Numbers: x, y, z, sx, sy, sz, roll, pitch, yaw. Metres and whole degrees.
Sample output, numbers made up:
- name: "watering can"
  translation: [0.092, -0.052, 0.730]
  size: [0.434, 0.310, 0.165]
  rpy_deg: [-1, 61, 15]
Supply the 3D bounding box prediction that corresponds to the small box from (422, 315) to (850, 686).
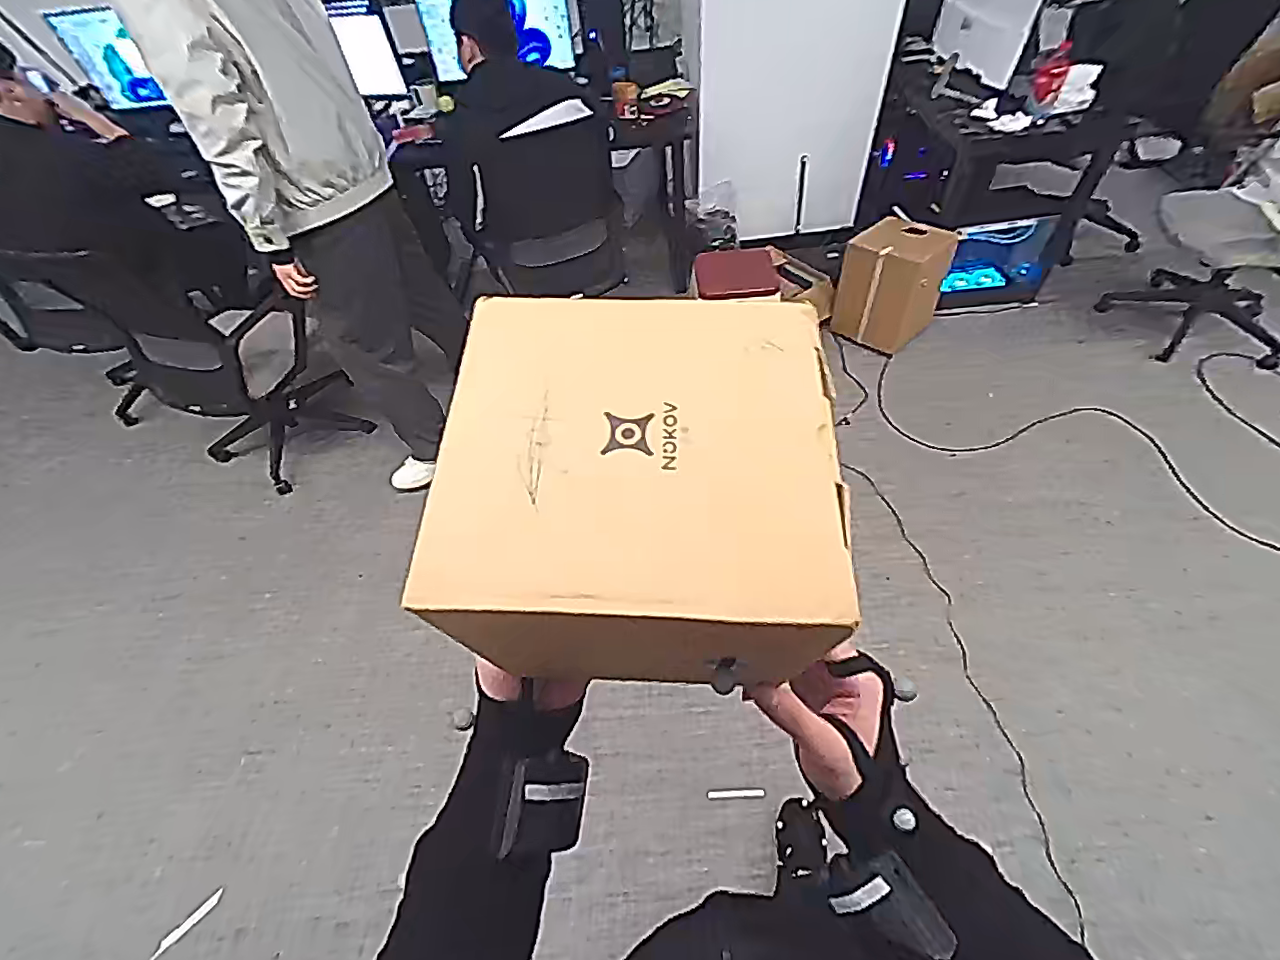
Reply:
- name: "small box"
  translation: [0.002, 0.023, 0.324]
  size: [0.179, 0.176, 0.168]
  rpy_deg: [-1, 61, 3]
